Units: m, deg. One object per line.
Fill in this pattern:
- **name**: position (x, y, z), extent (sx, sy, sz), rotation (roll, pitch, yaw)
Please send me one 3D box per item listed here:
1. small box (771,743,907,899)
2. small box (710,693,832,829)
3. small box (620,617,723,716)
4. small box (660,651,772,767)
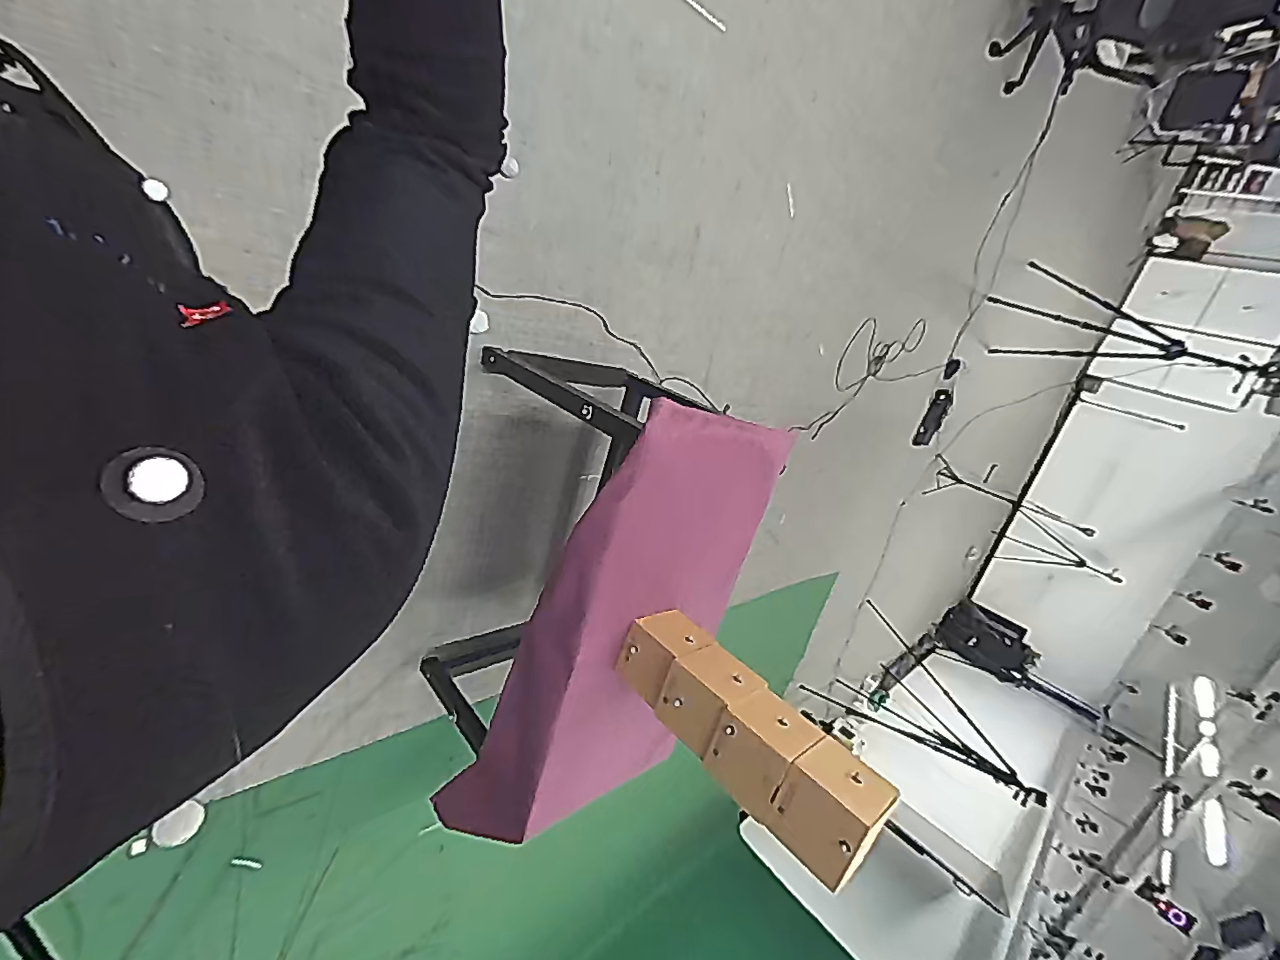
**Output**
- **small box**: position (0.394, 0.663, 1.079), extent (0.179, 0.176, 0.168), rotation (3, 110, -48)
- **small box**: position (0.281, 0.601, 1.180), extent (0.179, 0.176, 0.168), rotation (1, 112, -48)
- **small box**: position (0.080, 0.475, 1.407), extent (0.179, 0.176, 0.168), rotation (3, 110, -47)
- **small box**: position (0.179, 0.534, 1.290), extent (0.179, 0.176, 0.168), rotation (1, 111, -46)
